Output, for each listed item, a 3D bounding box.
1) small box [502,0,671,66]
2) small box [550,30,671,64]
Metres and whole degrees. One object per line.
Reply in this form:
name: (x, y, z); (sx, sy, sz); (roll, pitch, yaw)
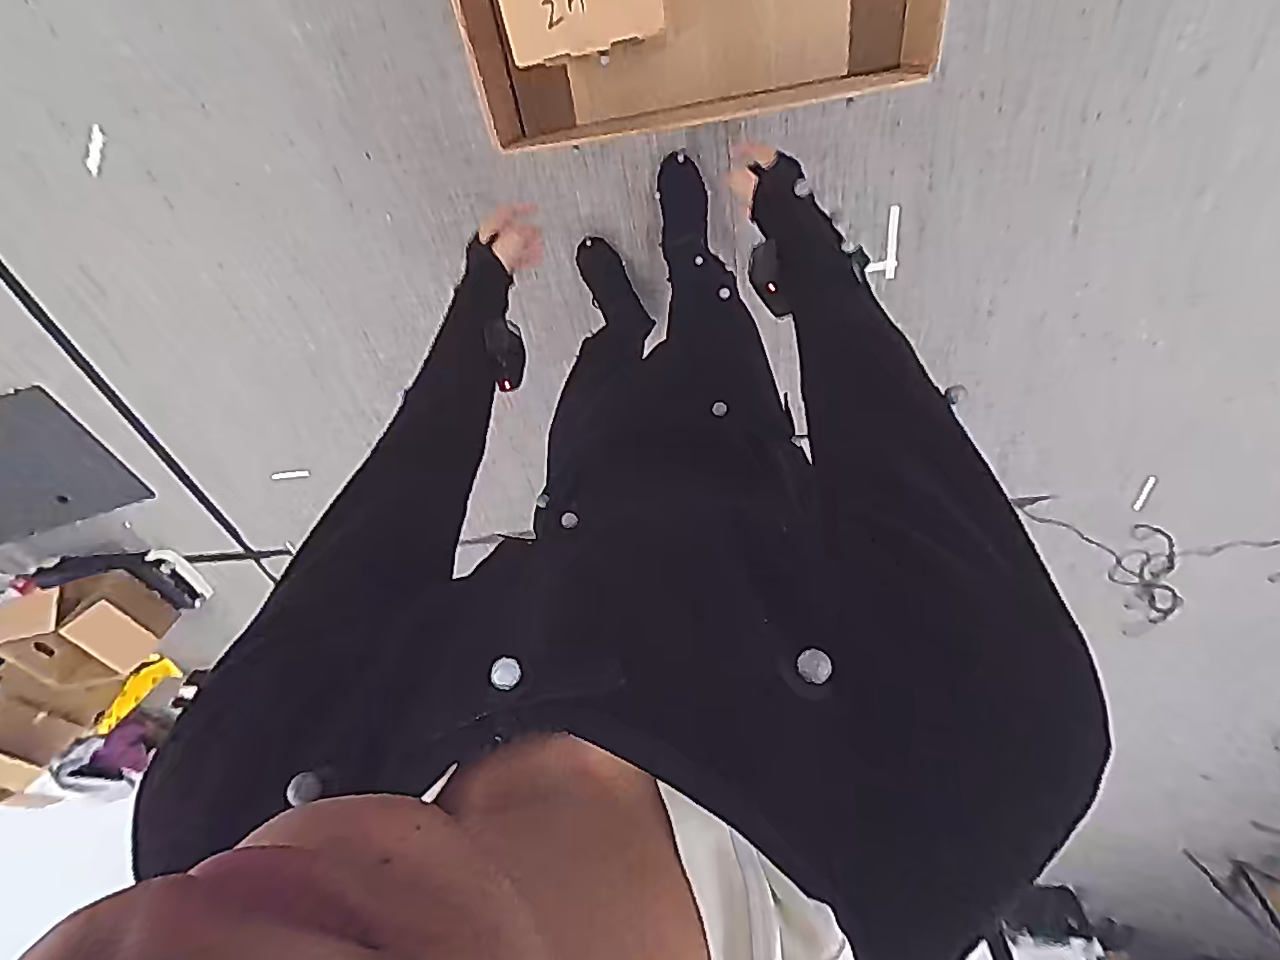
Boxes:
small box: (-0.060, -0.568, 0.578); (0.168, 0.176, 0.179); (-5, 129, 10)
small box: (-0.051, -0.669, 0.708); (0.168, 0.176, 0.179); (-5, 129, 10)
